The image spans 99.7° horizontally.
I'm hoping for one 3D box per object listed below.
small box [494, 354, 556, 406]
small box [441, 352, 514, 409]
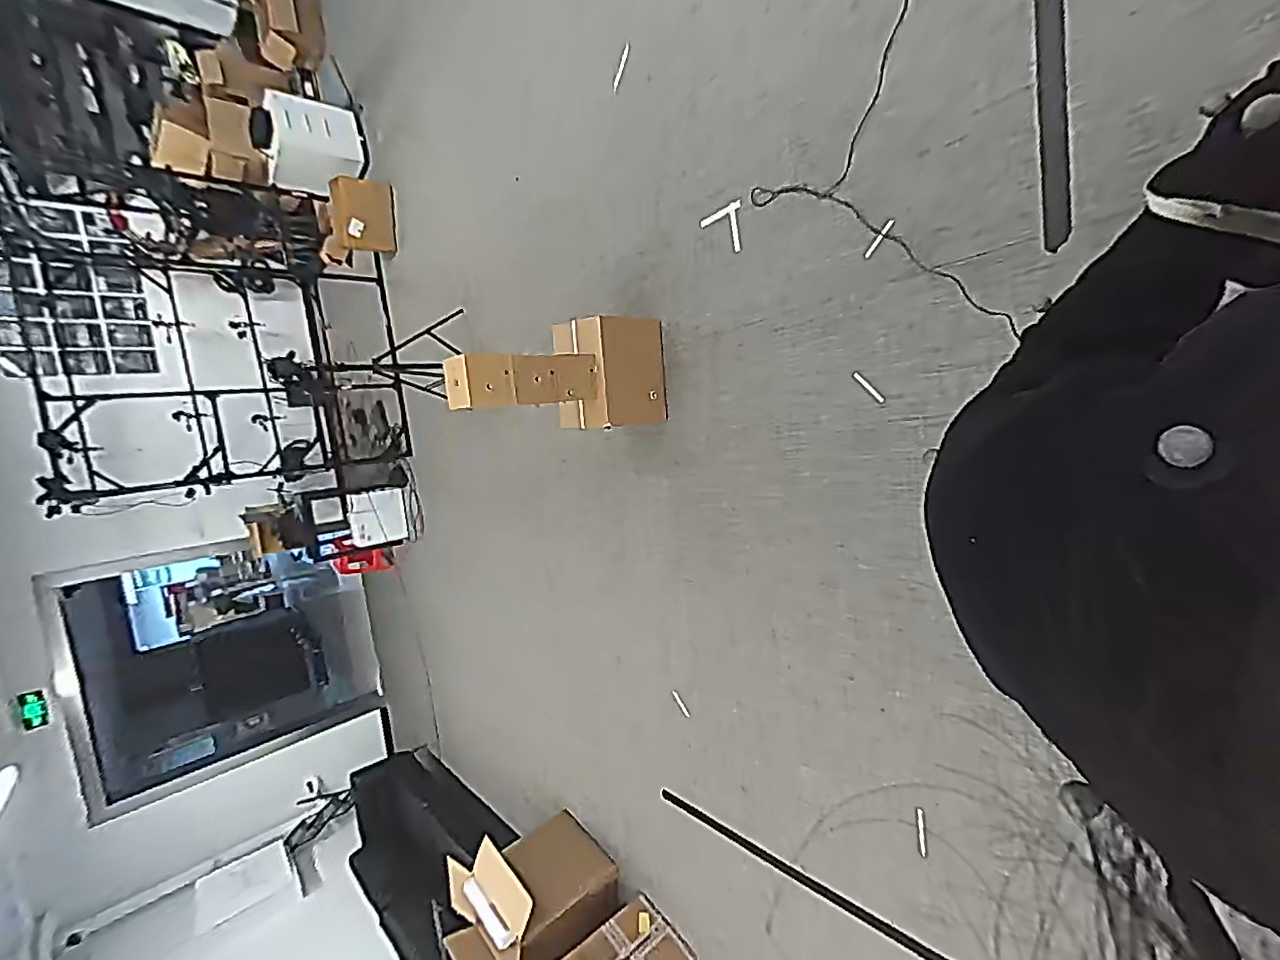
[{"bbox_3d":[-0.405,-0.348,1.877,0.179,0.176,0.168,6,103,47],"label":"small box"},{"bbox_3d":[-0.525,-0.325,1.768,0.179,0.176,0.168,3,102,49],"label":"small box"}]
